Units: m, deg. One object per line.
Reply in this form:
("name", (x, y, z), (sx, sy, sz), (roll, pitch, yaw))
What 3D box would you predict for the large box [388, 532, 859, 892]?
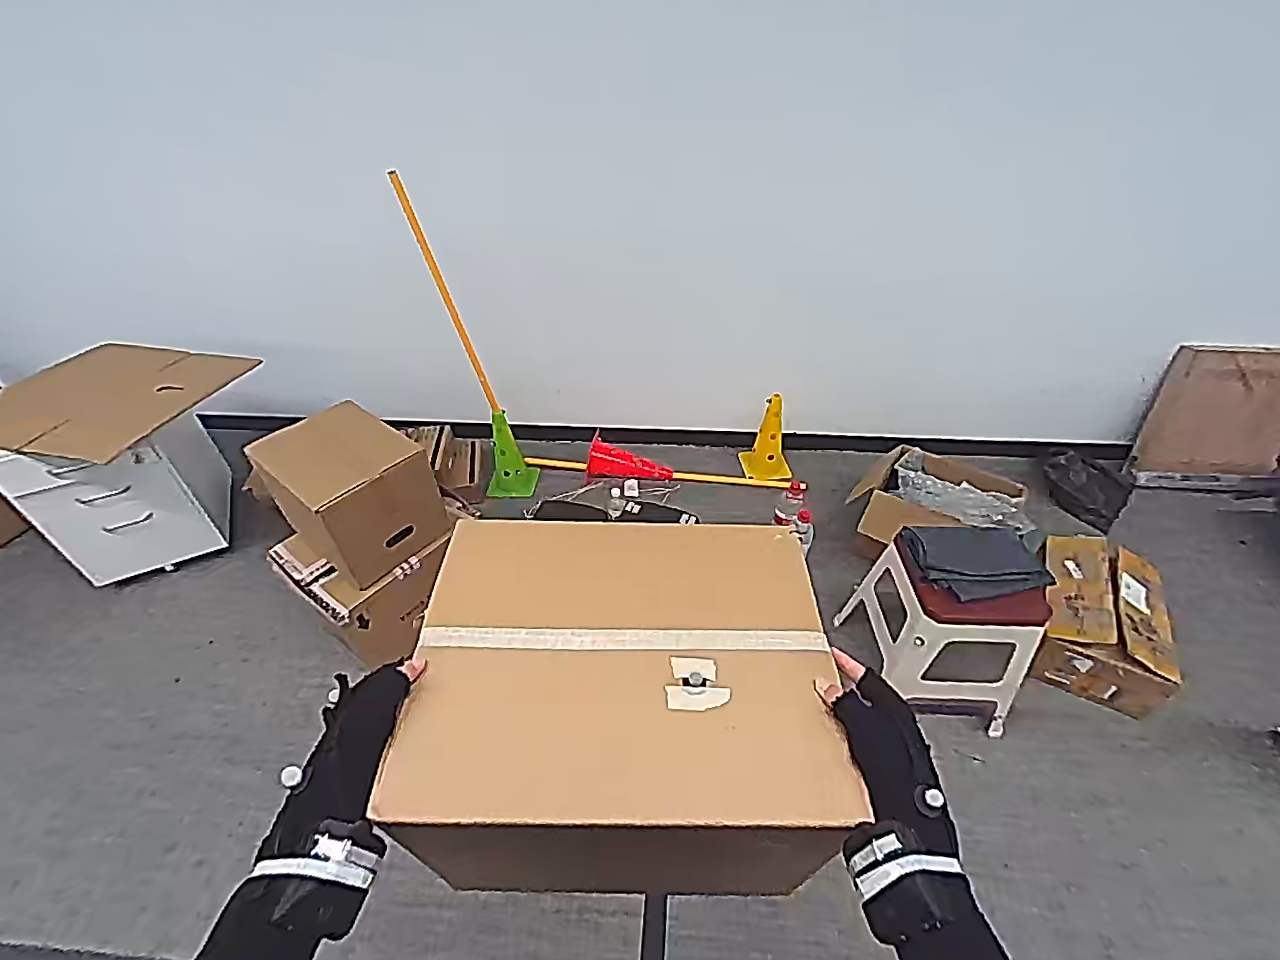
("large box", (-0.018, 0.280, 0.657), (0.408, 0.320, 0.320), (2, 45, -1))
